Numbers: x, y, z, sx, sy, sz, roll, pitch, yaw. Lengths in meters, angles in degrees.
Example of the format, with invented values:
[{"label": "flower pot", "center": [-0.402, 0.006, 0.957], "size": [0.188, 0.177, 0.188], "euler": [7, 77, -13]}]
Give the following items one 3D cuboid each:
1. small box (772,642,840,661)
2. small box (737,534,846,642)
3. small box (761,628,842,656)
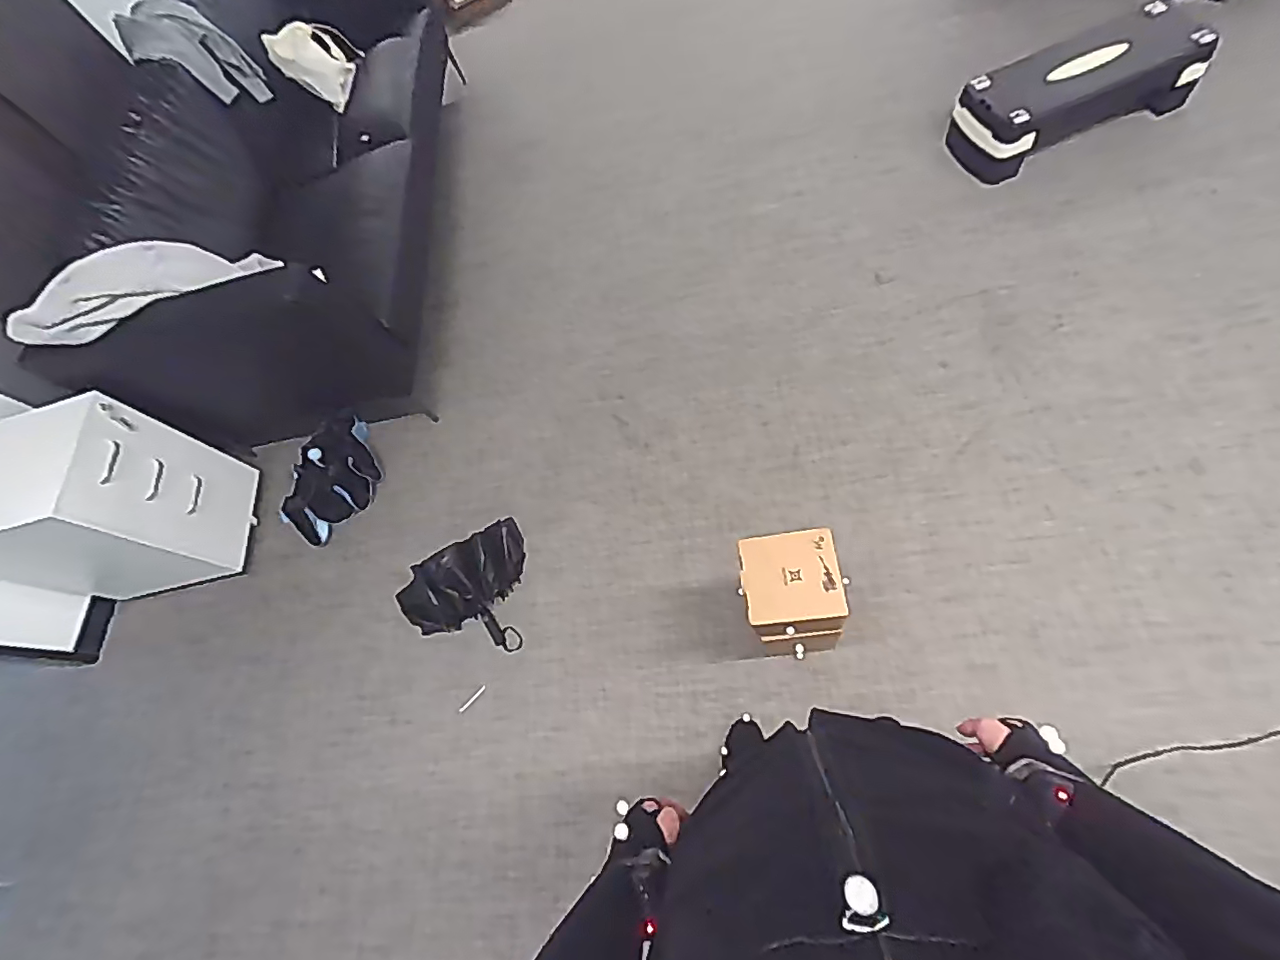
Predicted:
[{"label": "small box", "center": [0.391, 0.347, 1.354], "size": [0.168, 0.176, 0.179], "euler": [-12, 65, 11]}, {"label": "small box", "center": [0.297, 0.220, 1.066], "size": [0.179, 0.176, 0.168], "euler": [-10, 64, 12]}, {"label": "small box", "center": [0.343, 0.287, 1.208], "size": [0.168, 0.176, 0.179], "euler": [-11, 64, 11]}]
